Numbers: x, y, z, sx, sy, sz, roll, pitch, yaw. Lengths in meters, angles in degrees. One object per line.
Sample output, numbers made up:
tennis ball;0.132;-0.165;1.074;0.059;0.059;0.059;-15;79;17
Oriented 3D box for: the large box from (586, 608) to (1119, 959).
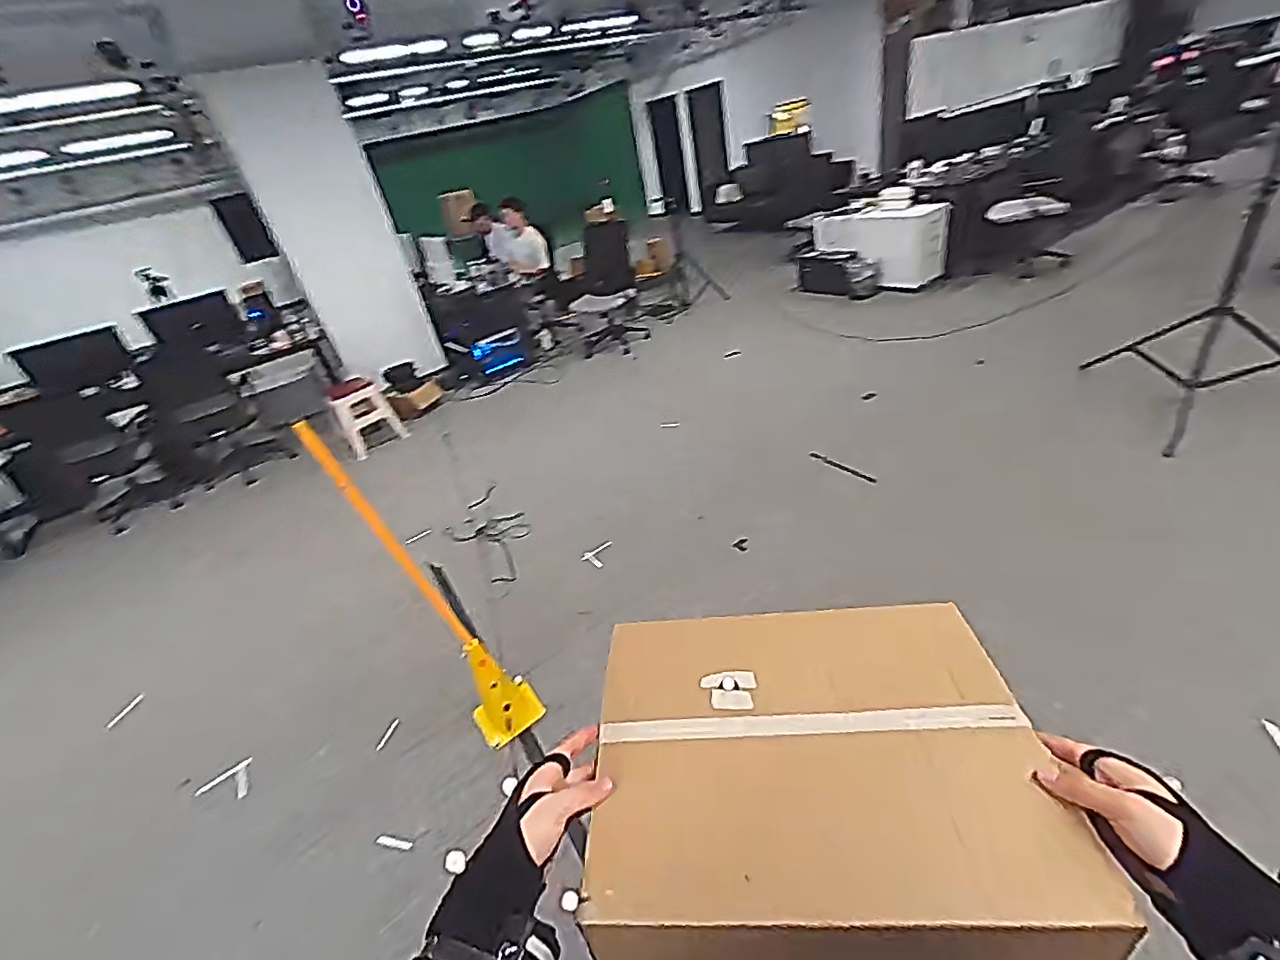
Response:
large box;0.181;0.382;0.608;0.408;0.320;0.320;-7;29;6
